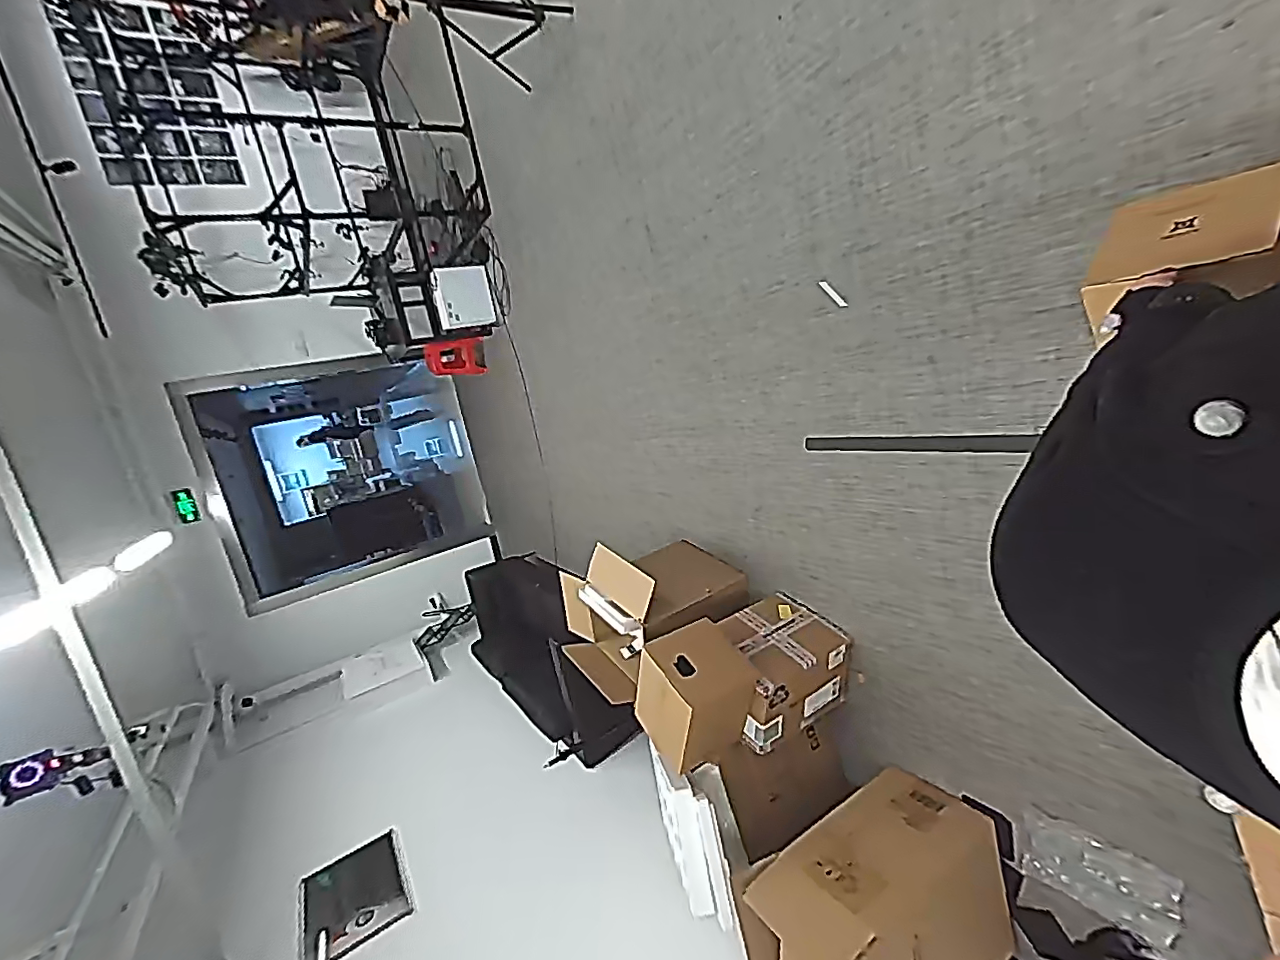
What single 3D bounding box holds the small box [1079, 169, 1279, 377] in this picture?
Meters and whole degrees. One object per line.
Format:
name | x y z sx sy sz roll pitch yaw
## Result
small box | 0.707 -0.247 0.694 0.176 0.179 0.168 48 158 -27
